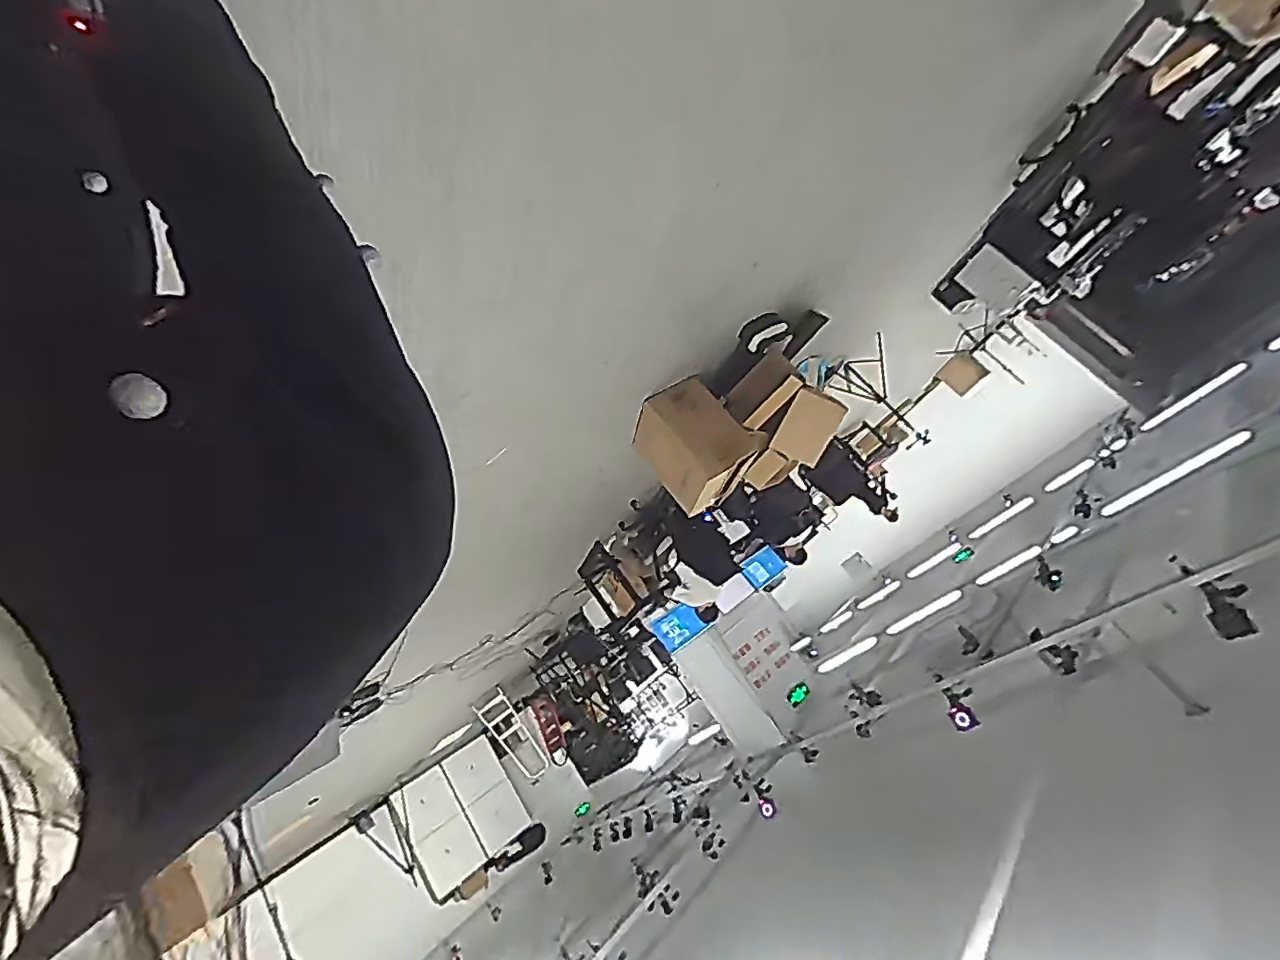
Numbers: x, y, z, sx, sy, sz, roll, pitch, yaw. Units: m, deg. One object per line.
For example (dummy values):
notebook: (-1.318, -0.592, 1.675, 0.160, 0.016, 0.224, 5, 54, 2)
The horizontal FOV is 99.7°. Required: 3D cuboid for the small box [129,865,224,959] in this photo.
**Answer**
small box: (-1.363, 1.283, 1.591, 0.179, 0.176, 0.168, -21, 156, -40)
